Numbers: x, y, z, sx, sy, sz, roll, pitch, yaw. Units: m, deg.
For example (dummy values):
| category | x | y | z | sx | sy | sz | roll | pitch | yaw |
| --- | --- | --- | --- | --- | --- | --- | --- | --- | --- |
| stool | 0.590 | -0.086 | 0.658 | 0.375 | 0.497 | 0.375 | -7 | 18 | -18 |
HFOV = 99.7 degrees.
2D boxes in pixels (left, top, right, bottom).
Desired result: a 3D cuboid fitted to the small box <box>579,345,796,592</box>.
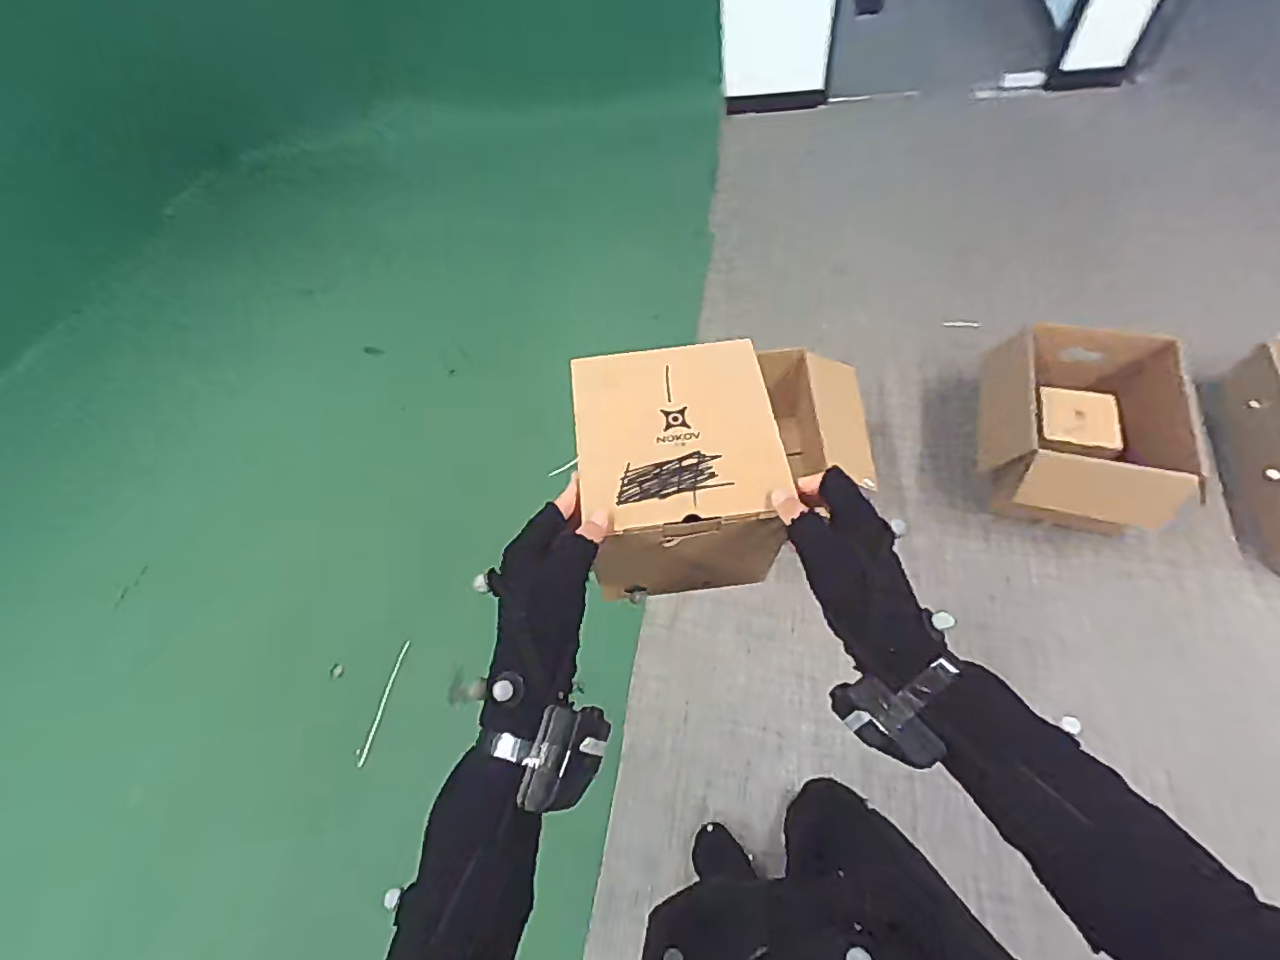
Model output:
| category | x | y | z | sx | sy | sz | roll | pitch | yaw |
| --- | --- | --- | --- | --- | --- | --- | --- | --- | --- |
| small box | 0.037 | 0.000 | 0.519 | 0.168 | 0.176 | 0.179 | -6 | 60 | 0 |
